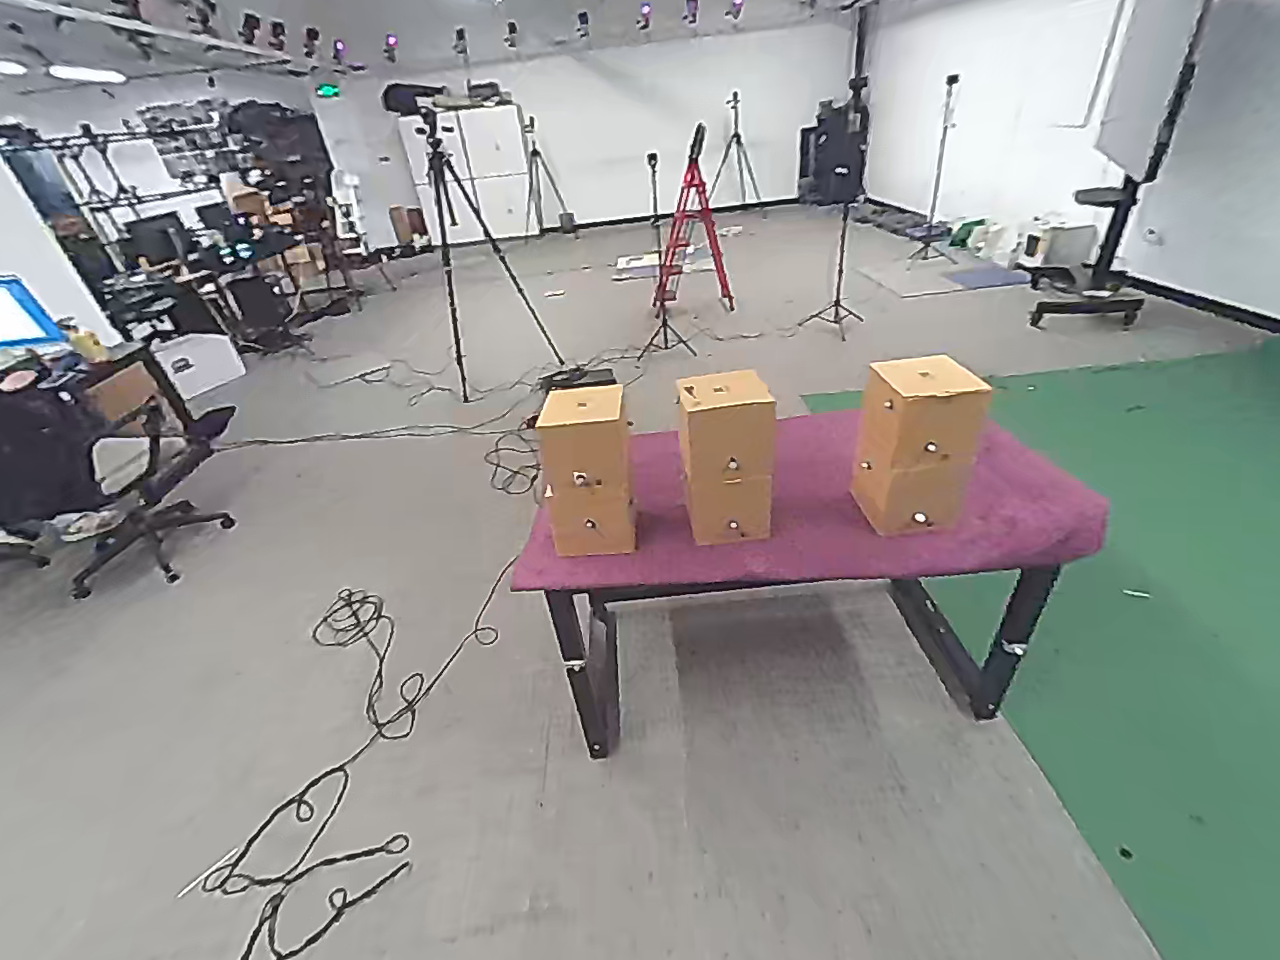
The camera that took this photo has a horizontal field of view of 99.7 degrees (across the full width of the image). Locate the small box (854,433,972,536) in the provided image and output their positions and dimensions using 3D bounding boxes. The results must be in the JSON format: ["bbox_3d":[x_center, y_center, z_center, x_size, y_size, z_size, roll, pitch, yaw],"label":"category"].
[{"bbox_3d":[0.590,0.003,1.196,0.168,0.176,0.179,-6,34,2],"label":"small box"}]

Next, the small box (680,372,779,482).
[{"bbox_3d":[0.180,-0.112,1.137,0.179,0.176,0.168,-6,32,-1],"label":"small box"}]

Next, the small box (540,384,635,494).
[{"bbox_3d":[-0.103,-0.088,1.150,0.168,0.176,0.179,-5,33,4],"label":"small box"}]

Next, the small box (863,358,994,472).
[{"bbox_3d":[0.576,-0.134,1.110,0.168,0.176,0.179,-6,34,1],"label":"small box"}]

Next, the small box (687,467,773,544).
[{"bbox_3d":[0.197,0.024,1.228,0.168,0.176,0.179,-7,33,0],"label":"small box"}]
